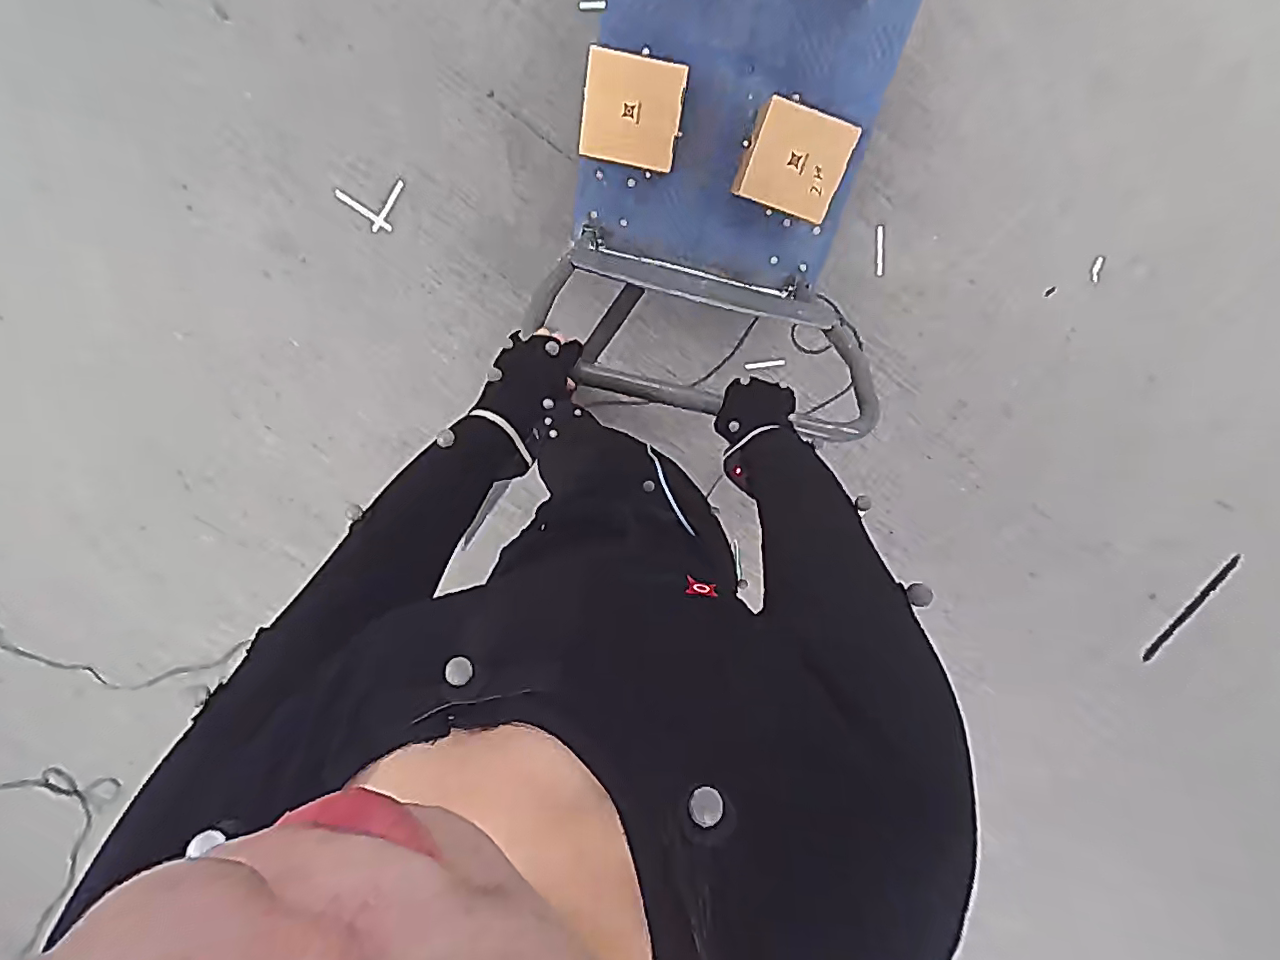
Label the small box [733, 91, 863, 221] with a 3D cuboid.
[{"bbox_3d":[0.295,-0.627,1.060,0.179,0.176,0.168,17,120,-6],"label":"small box"}]

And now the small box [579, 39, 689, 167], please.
[{"bbox_3d":[-0.011,-0.706,1.034,0.179,0.176,0.168,10,120,-4],"label":"small box"}]
